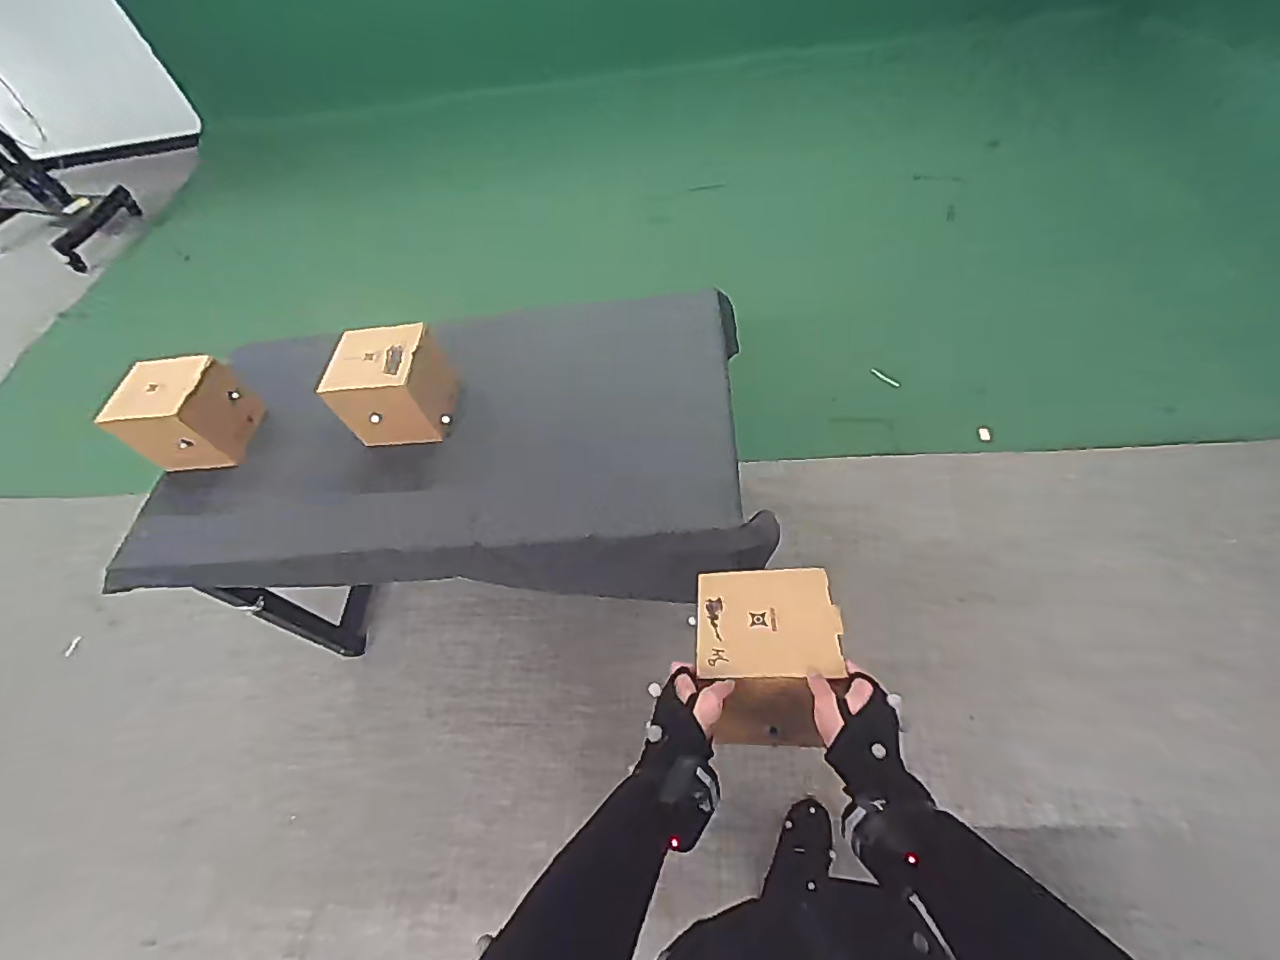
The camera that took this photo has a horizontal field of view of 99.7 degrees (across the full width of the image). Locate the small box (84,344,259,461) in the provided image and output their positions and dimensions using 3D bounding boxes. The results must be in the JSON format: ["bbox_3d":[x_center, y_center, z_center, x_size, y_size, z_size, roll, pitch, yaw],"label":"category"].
[{"bbox_3d":[-0.935,-0.154,1.102,0.179,0.176,0.168,-4,55,6],"label":"small box"}]

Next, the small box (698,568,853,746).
[{"bbox_3d":[0.172,0.237,0.726,0.179,0.176,0.168,-2,38,9],"label":"small box"}]

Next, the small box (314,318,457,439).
[{"bbox_3d":[-0.486,-0.196,1.067,0.179,0.176,0.168,-2,56,7],"label":"small box"}]
